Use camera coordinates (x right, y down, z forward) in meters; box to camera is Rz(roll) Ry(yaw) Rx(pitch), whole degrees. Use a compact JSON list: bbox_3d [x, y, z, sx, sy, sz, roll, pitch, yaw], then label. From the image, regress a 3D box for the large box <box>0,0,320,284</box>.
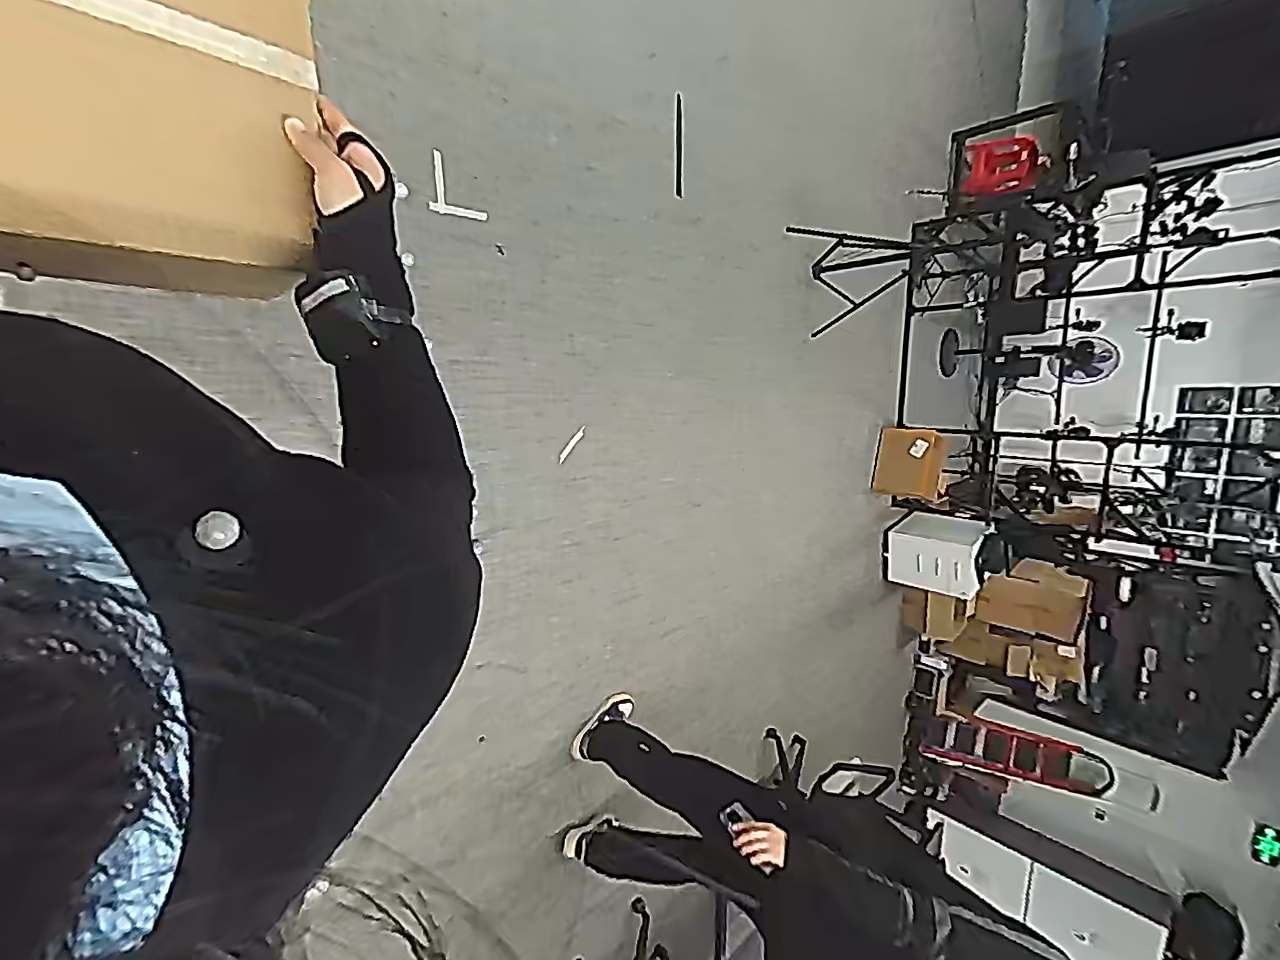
[{"bbox_3d":[-0.533,-0.351,0.441,0.408,0.320,0.320,-8,105,-41],"label":"large box"}]
